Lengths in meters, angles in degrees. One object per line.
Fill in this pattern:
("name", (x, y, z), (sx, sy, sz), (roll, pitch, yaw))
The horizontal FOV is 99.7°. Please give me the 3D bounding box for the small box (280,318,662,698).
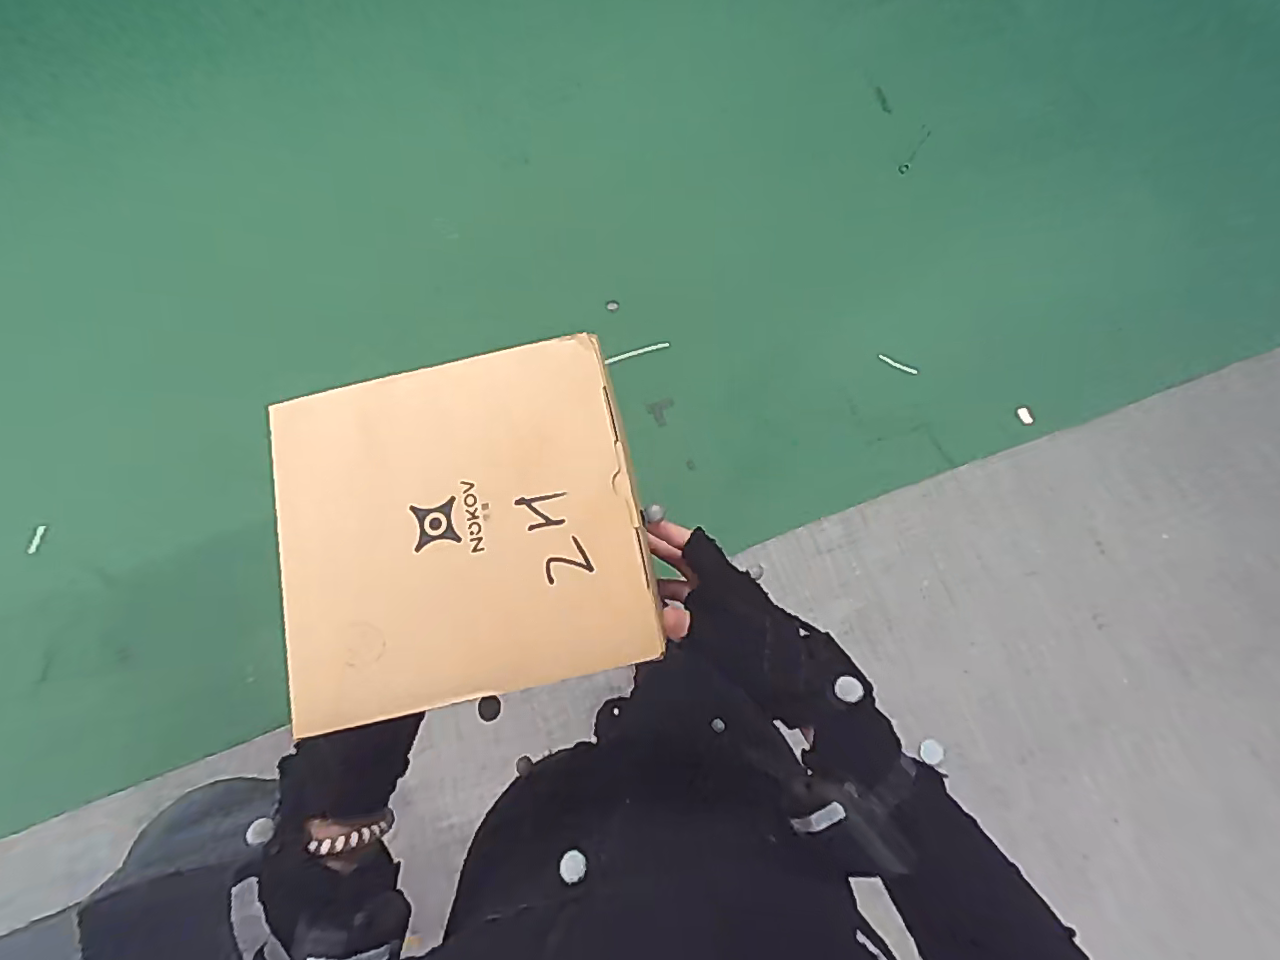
("small box", (-0.086, 0.026, 0.345), (0.179, 0.176, 0.168), (-12, 78, 0))
